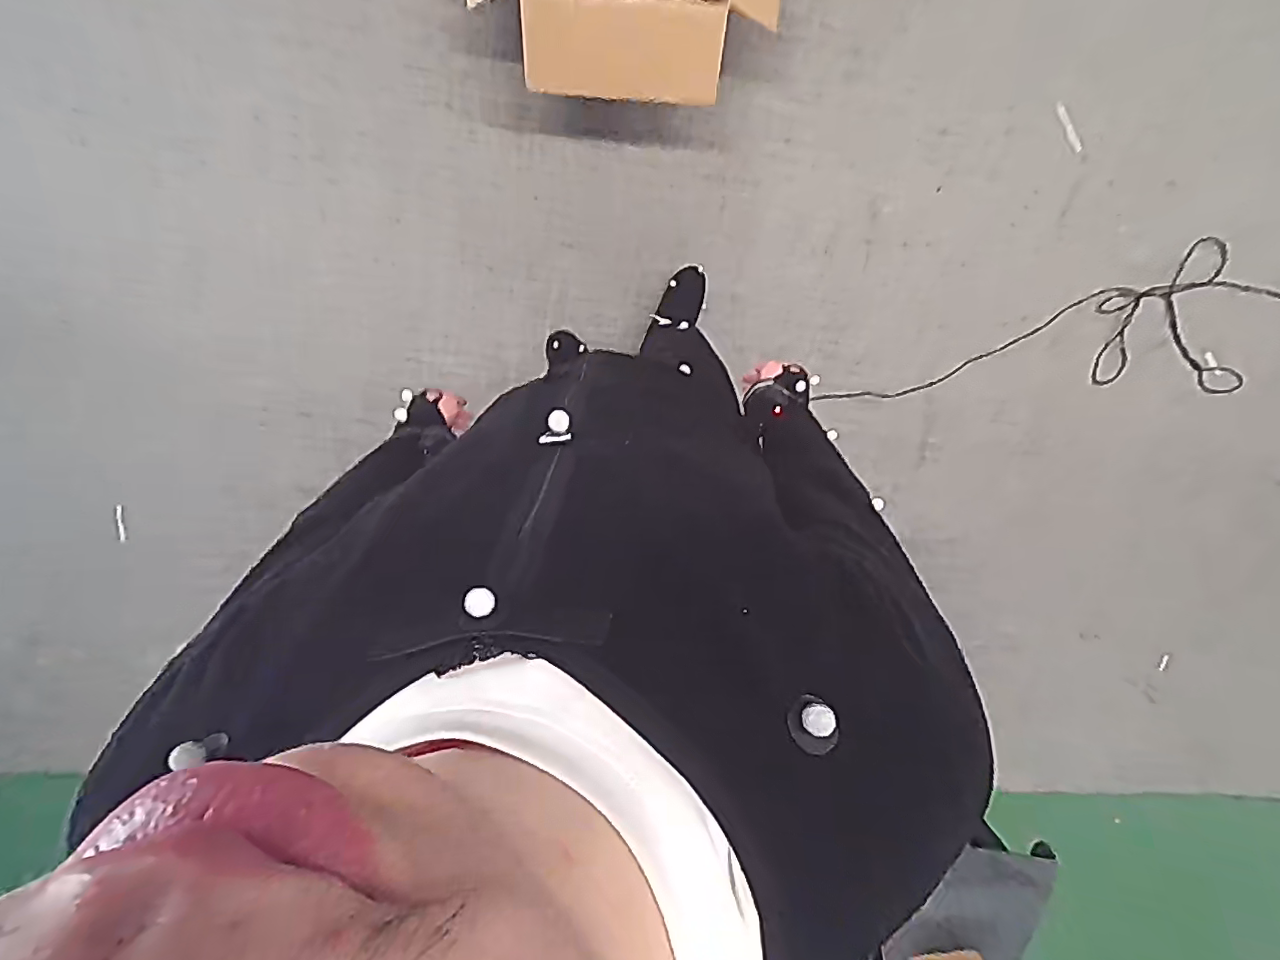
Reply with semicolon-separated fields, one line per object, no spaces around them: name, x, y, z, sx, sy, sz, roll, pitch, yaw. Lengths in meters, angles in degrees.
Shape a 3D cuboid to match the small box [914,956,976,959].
small box;0.698;1.182;1.178;0.168;0.176;0.179;-2;107;-3
